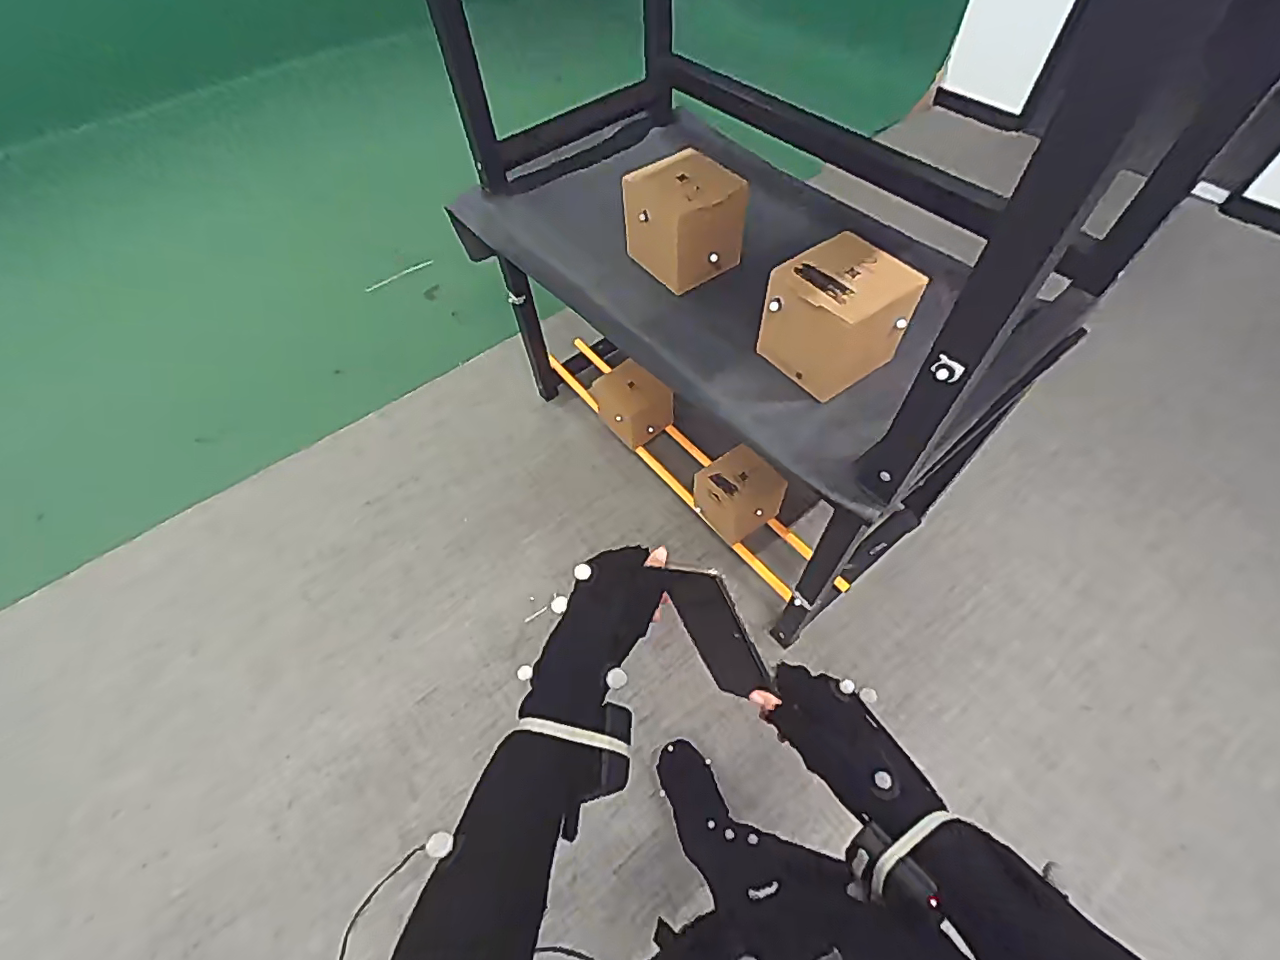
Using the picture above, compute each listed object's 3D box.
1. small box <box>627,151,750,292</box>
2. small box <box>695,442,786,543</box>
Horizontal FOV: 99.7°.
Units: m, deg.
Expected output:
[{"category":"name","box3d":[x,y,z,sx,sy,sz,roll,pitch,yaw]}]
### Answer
[{"category":"small box","box3d":[0.090,-0.507,1.068,0.168,0.176,0.179,-32,61,-16]},{"category":"small box","box3d":[0.263,0.040,1.447,0.179,0.176,0.168,-32,61,-16]}]
